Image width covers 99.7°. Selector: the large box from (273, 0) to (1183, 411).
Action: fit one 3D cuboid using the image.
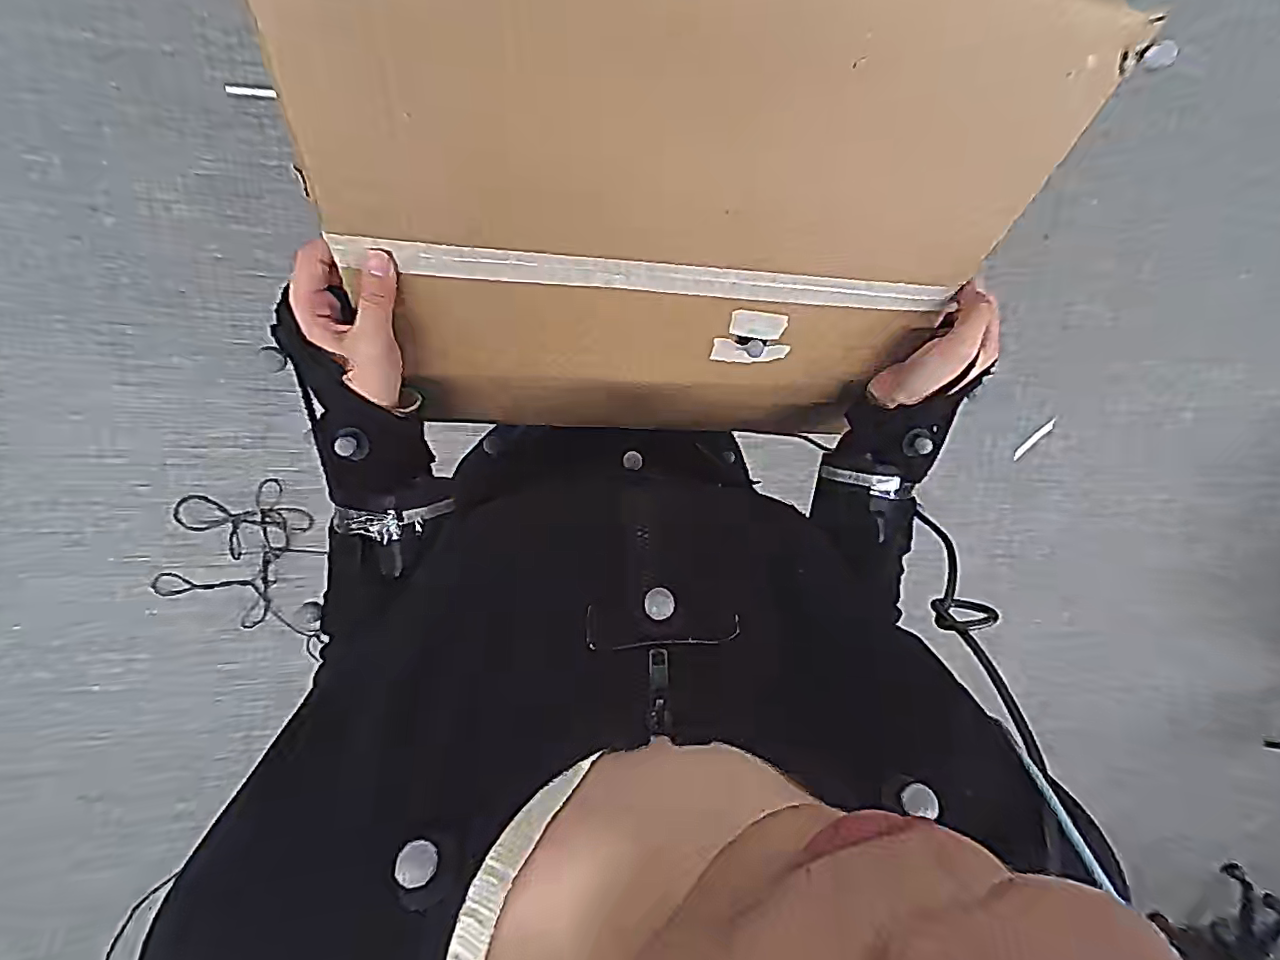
[{"bbox_3d":[0.019,-0.267,0.403,0.408,0.320,0.320,0,147,-11],"label":"large box"}]
